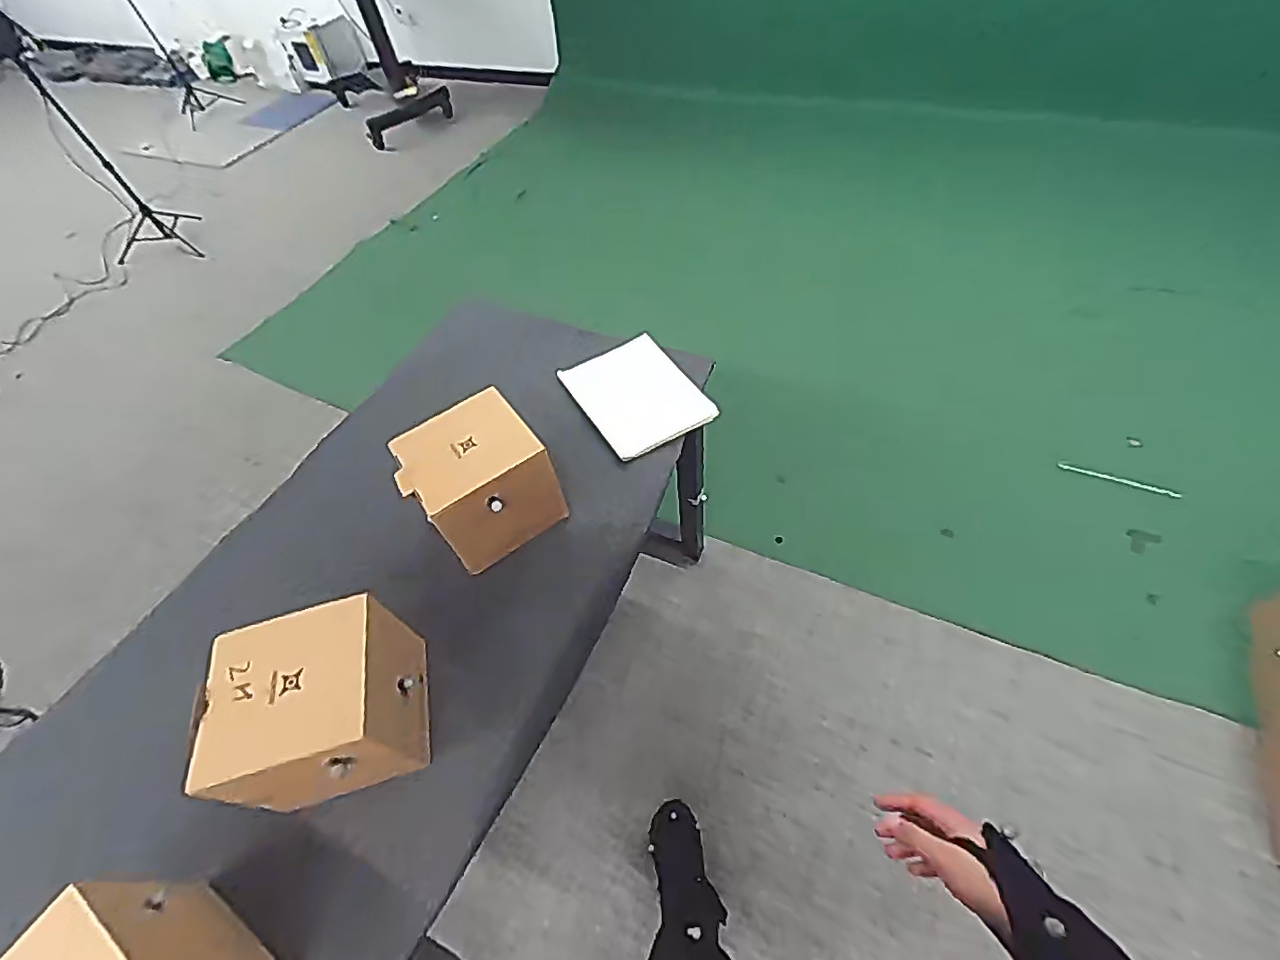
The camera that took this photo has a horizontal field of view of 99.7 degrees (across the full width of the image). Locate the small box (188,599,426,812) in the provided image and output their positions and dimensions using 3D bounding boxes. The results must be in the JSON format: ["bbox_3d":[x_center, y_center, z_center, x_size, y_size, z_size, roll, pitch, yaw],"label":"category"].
[{"bbox_3d":[-0.364,0.268,0.634,0.179,0.176,0.168,-16,53,-5],"label":"small box"}]

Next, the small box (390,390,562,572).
[{"bbox_3d":[-0.233,0.004,0.813,0.179,0.176,0.168,-33,57,-16],"label":"small box"}]
